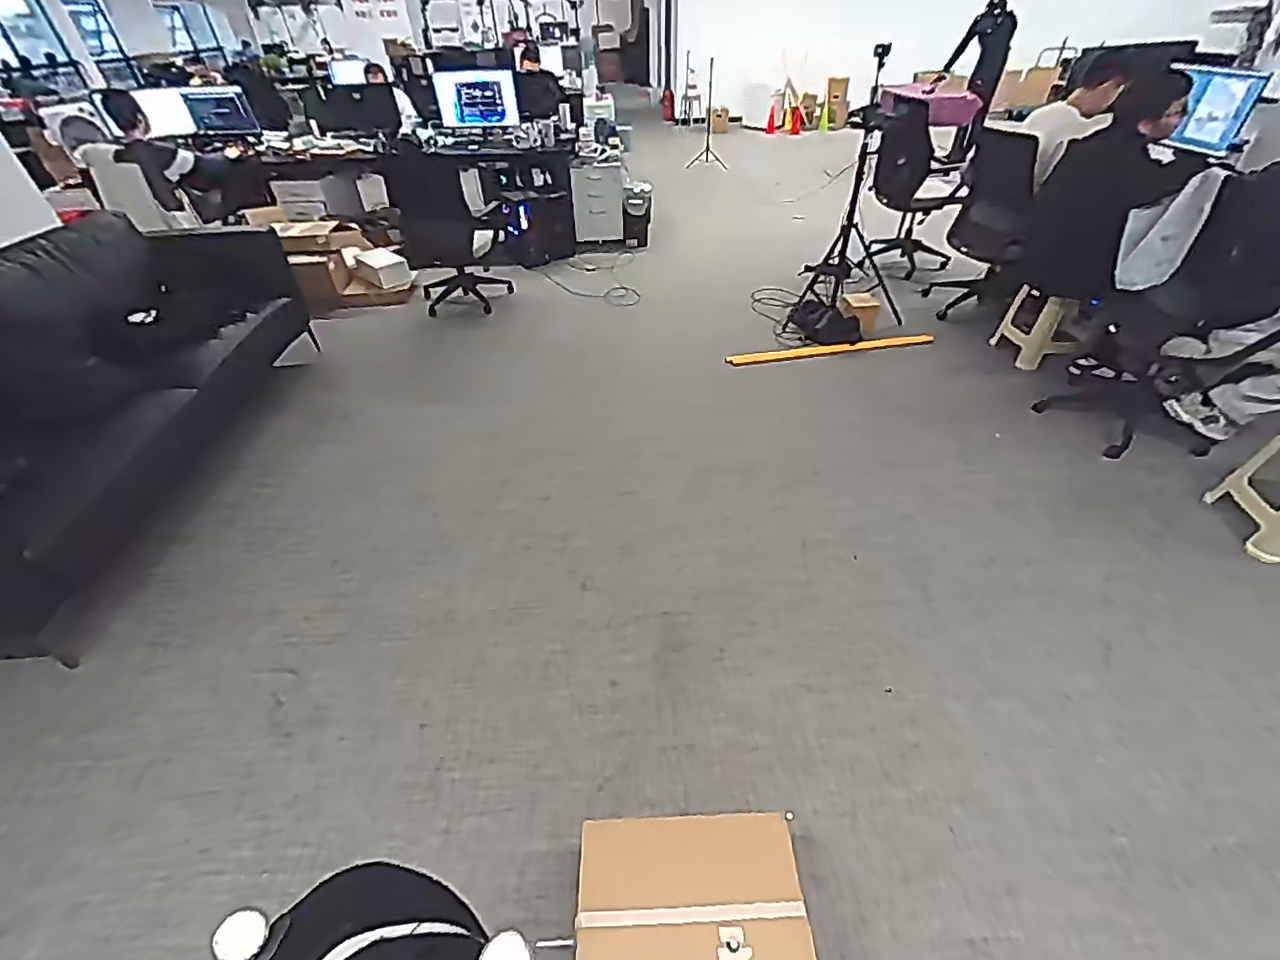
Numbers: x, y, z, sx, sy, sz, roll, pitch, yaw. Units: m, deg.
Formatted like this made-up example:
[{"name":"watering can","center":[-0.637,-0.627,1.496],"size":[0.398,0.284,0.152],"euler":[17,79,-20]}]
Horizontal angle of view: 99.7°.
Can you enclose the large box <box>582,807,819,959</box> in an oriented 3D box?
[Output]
[{"name":"large box","center":[0.102,0.875,1.052],"size":[0.408,0.320,0.320],"euler":[-3,41,0]}]
